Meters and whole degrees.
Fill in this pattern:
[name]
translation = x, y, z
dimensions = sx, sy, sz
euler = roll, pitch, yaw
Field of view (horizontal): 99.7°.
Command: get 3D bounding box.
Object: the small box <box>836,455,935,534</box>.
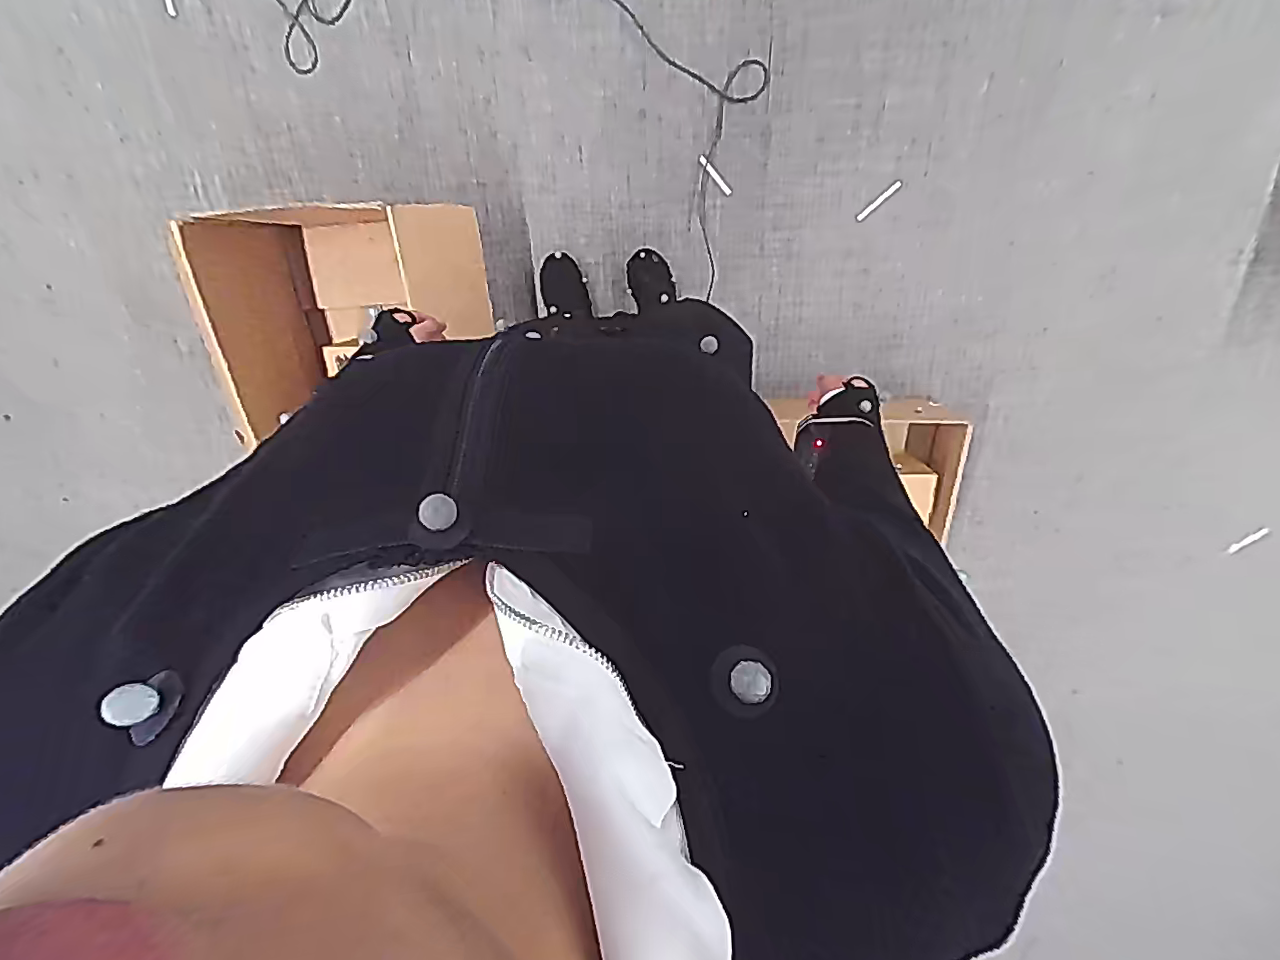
[small box]
translation = 0.644, 0.033, 1.439
dimensions = 0.179, 0.176, 0.168
euler = 0, 110, 1
